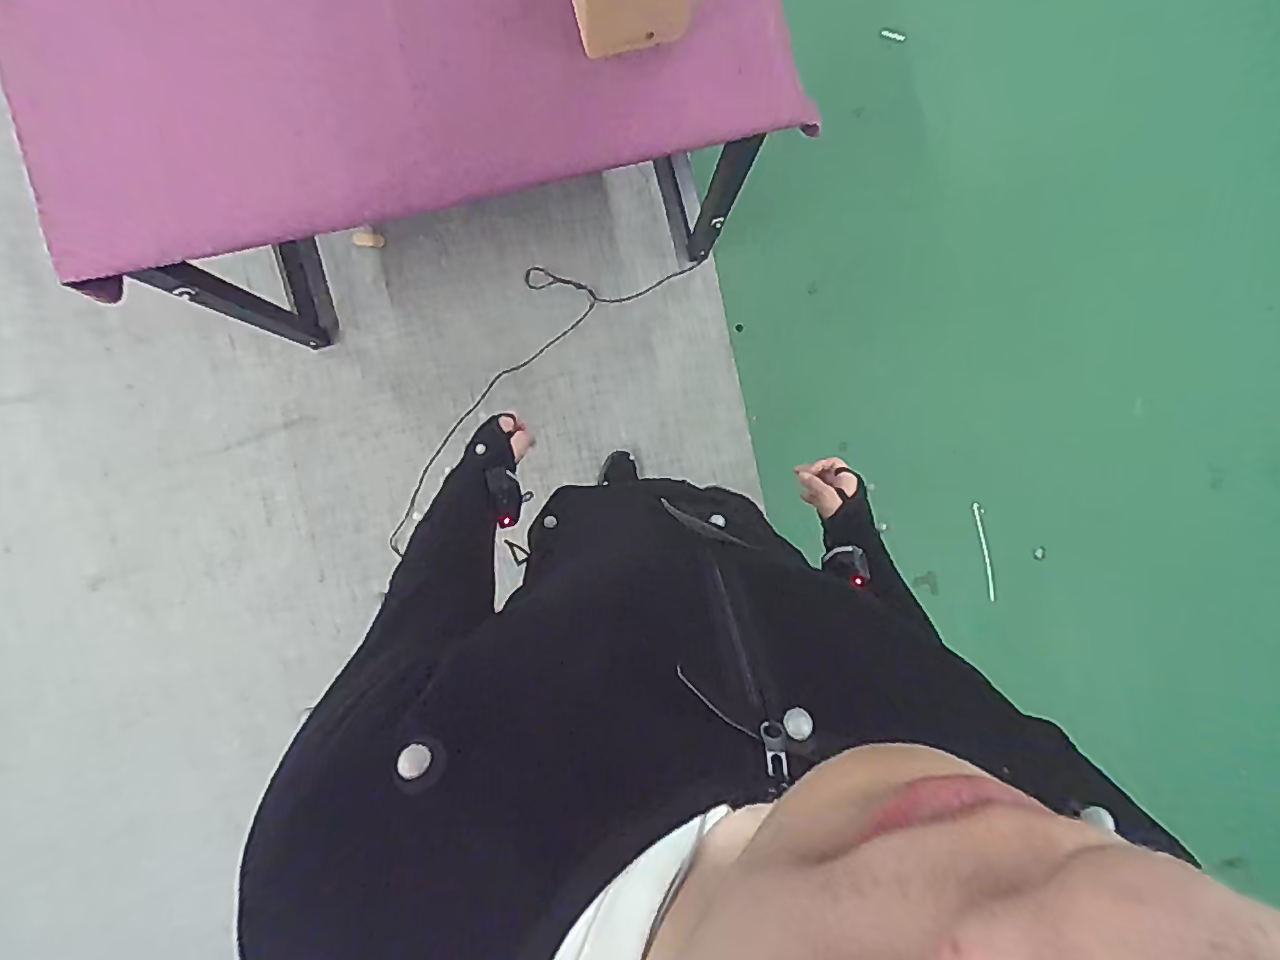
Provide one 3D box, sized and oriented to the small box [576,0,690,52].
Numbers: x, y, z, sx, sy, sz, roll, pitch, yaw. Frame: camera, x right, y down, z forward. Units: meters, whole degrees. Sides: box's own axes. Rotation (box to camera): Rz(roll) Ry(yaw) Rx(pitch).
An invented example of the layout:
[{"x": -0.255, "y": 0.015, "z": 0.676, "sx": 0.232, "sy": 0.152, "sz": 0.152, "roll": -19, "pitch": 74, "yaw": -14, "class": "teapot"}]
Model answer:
[{"x": -0.021, "y": -0.784, "z": 0.786, "sx": 0.168, "sy": 0.176, "sz": 0.179, "roll": -15, "pitch": 91, "yaw": -2, "class": "small box"}]
